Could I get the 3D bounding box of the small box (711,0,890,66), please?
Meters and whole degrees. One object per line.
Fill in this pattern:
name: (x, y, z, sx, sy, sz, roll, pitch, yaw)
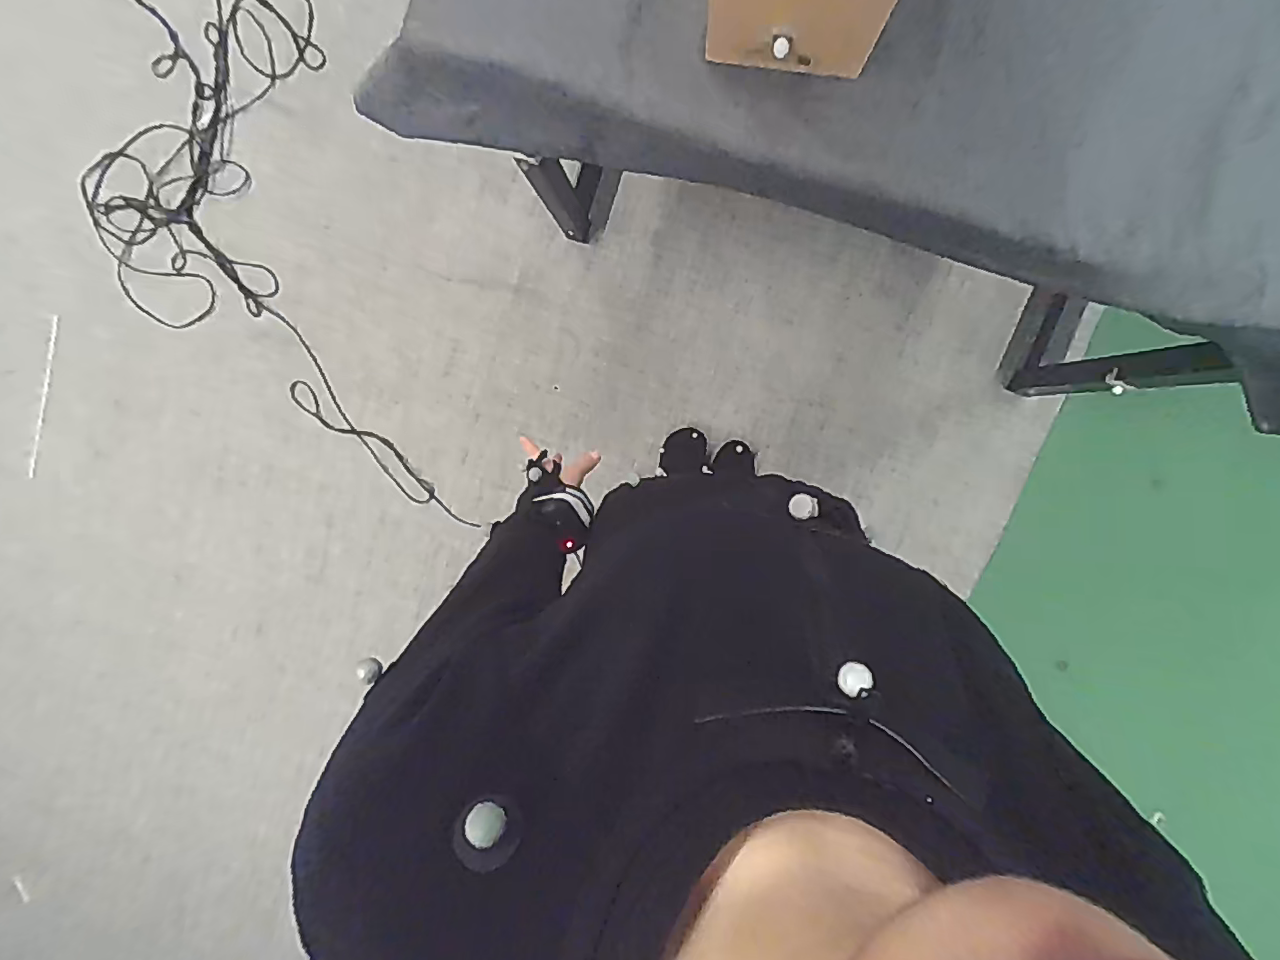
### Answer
small box: (0.159, -0.526, 0.485, 0.168, 0.176, 0.179, 10, 98, 3)
